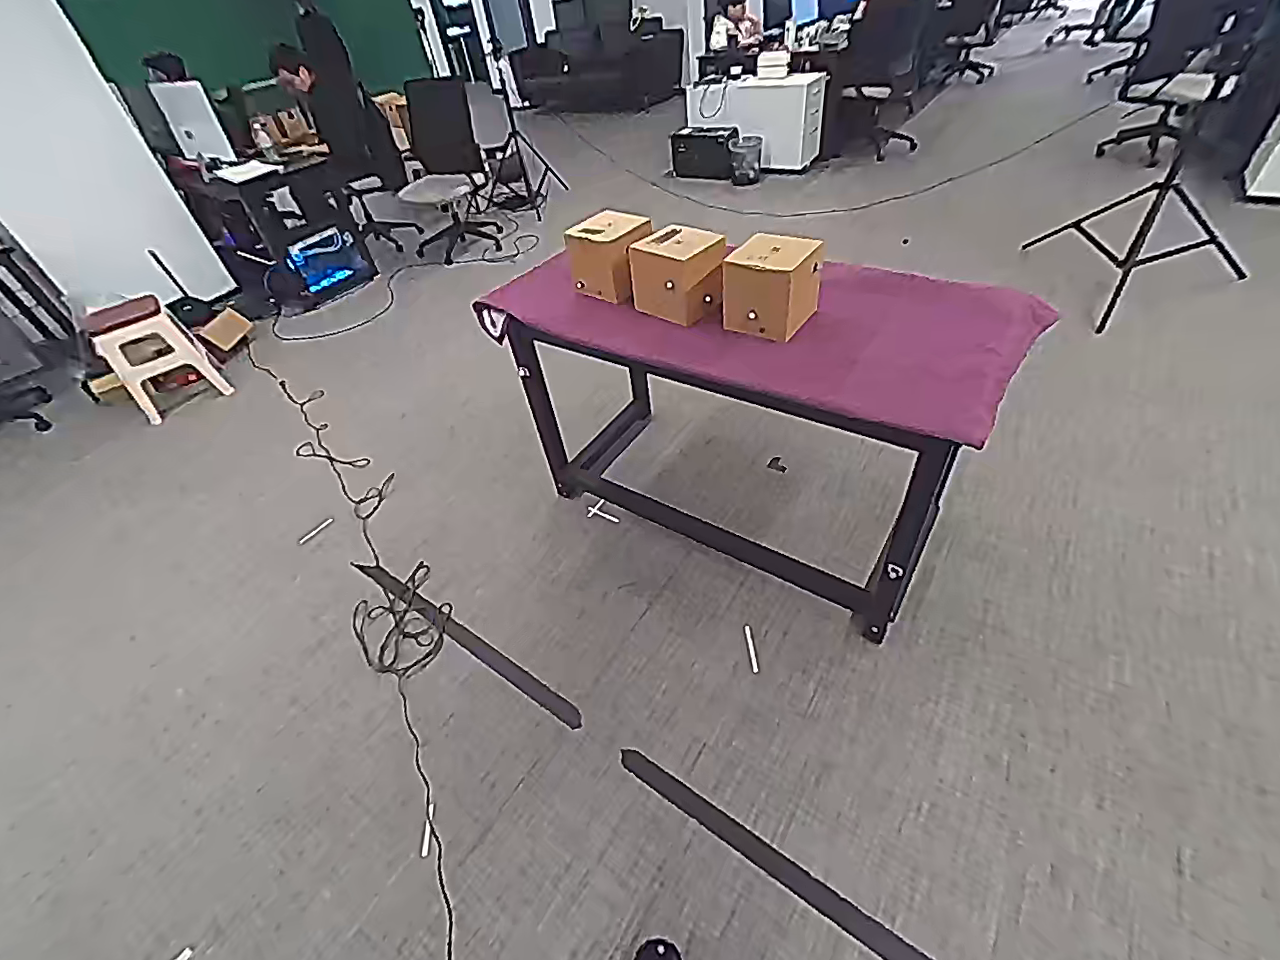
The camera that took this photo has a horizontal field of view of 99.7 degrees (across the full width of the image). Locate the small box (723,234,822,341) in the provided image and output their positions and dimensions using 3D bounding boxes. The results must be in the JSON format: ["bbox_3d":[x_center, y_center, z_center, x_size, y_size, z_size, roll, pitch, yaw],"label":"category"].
[{"bbox_3d":[0.304,-0.451,1.264,0.168,0.176,0.179,23,52,30],"label":"small box"}]

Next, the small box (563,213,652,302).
[{"bbox_3d":[-0.081,-0.614,1.496,0.168,0.176,0.179,28,55,31],"label":"small box"}]
